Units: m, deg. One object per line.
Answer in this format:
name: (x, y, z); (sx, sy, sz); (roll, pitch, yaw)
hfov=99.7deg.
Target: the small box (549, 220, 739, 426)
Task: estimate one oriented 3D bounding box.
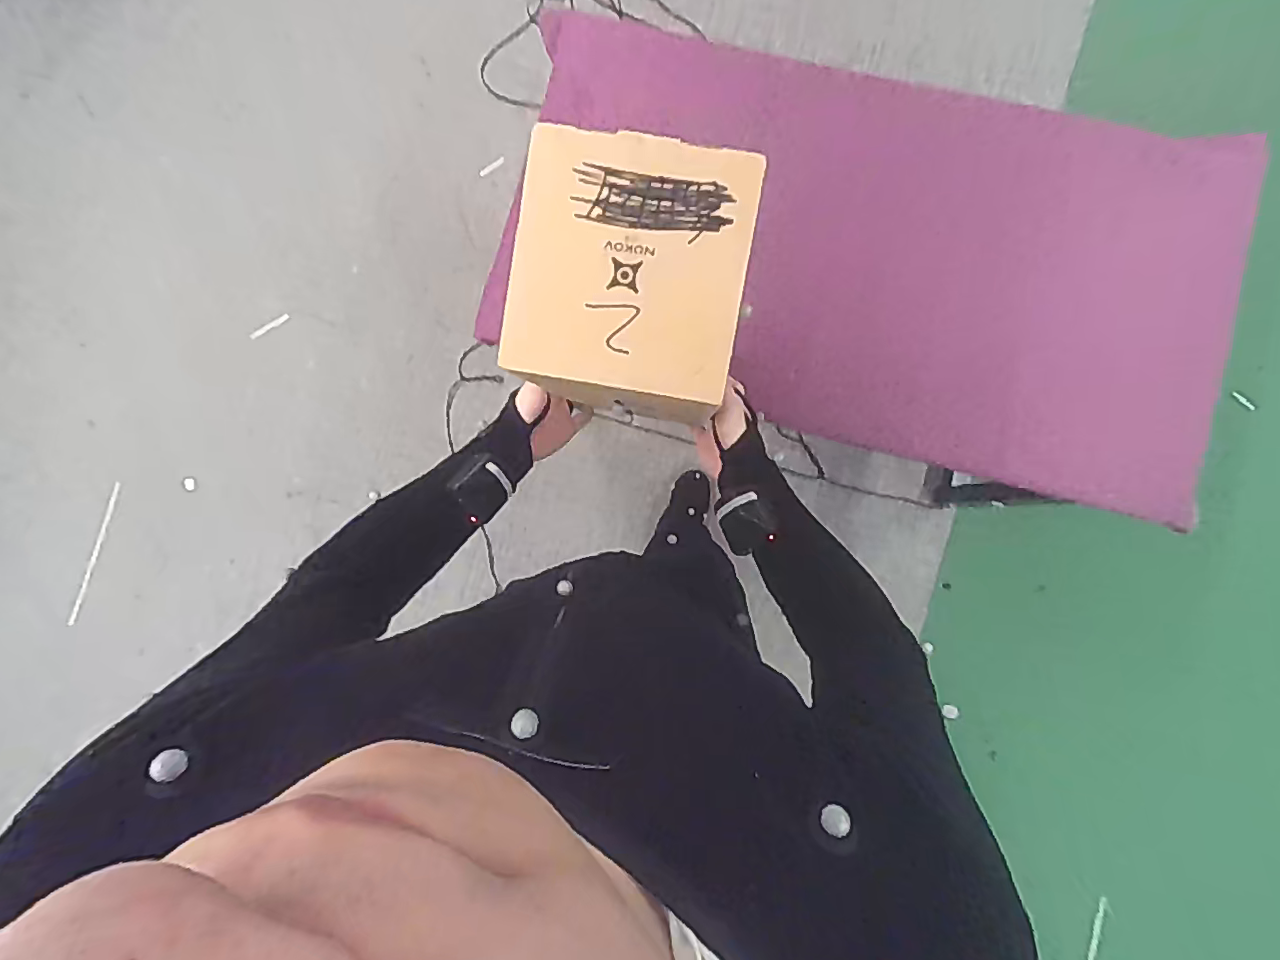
small box: (0.008, -0.161, 0.614); (0.168, 0.176, 0.179); (11, 93, 3)
